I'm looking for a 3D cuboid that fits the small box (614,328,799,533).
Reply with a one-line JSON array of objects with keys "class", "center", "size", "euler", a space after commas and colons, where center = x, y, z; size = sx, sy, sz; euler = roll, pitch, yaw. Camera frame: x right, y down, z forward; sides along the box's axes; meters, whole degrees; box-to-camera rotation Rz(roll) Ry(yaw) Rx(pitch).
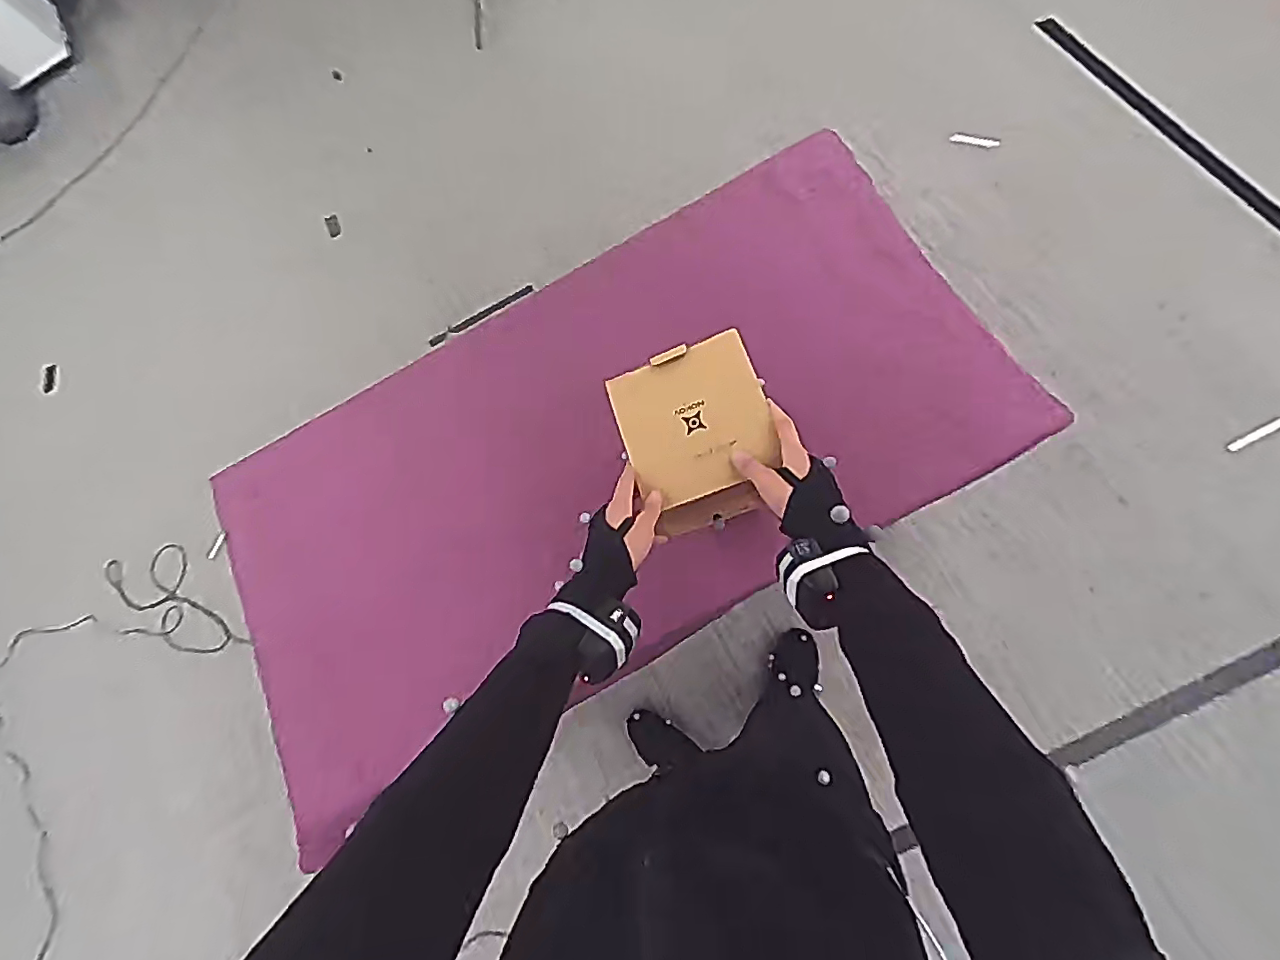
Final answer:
[{"class": "small box", "center": [0.085, -0.049, 0.668], "size": [0.168, 0.176, 0.179], "euler": [-20, 73, 9]}]
